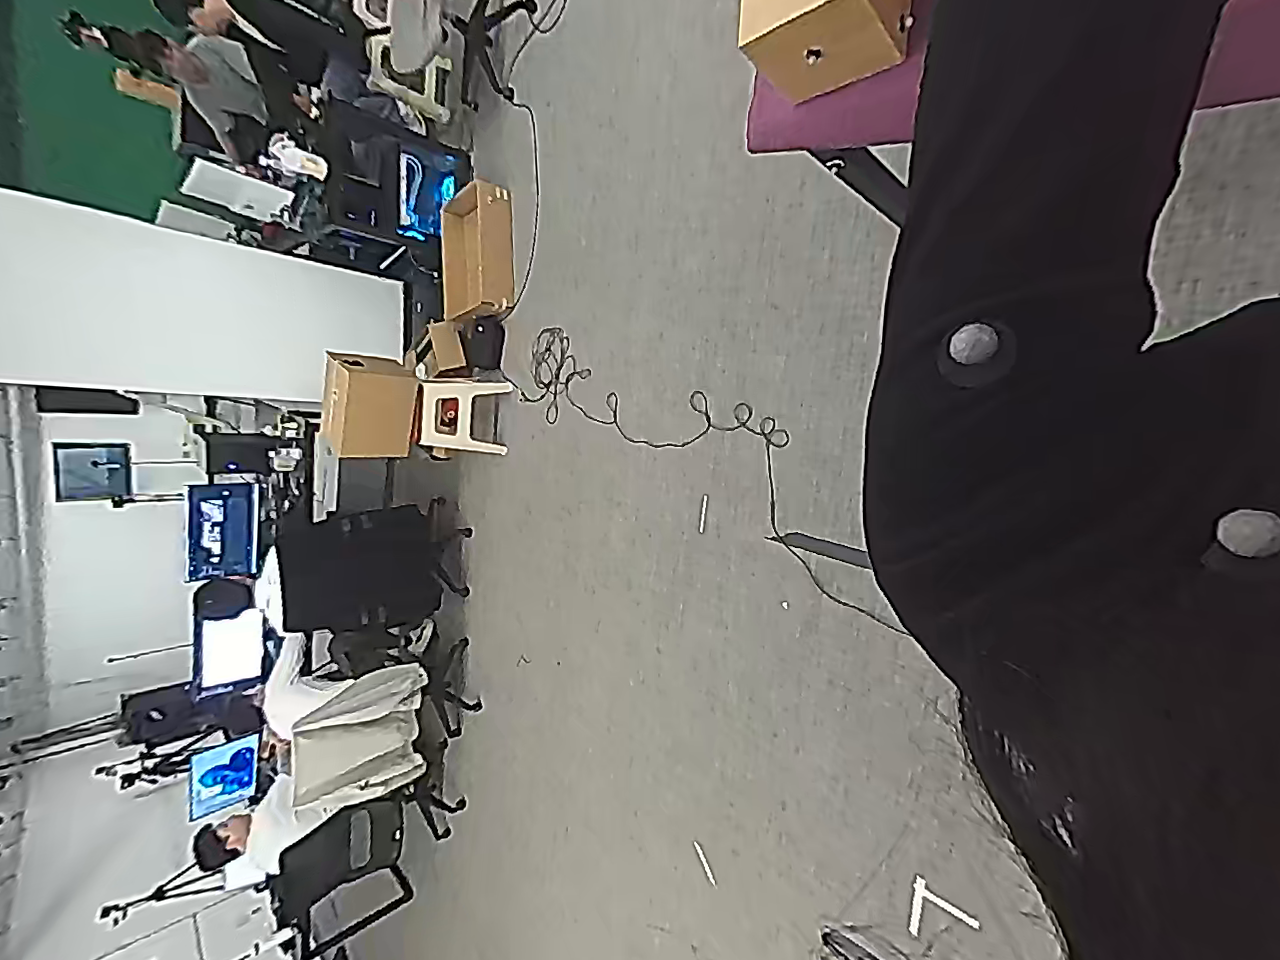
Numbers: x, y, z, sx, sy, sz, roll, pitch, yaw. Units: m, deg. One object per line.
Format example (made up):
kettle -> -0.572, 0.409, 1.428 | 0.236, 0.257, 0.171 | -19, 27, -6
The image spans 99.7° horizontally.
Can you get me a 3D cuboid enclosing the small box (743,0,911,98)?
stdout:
small box -> 0.264, -0.677, 0.742 | 0.179, 0.176, 0.168 | 7, 96, 44
